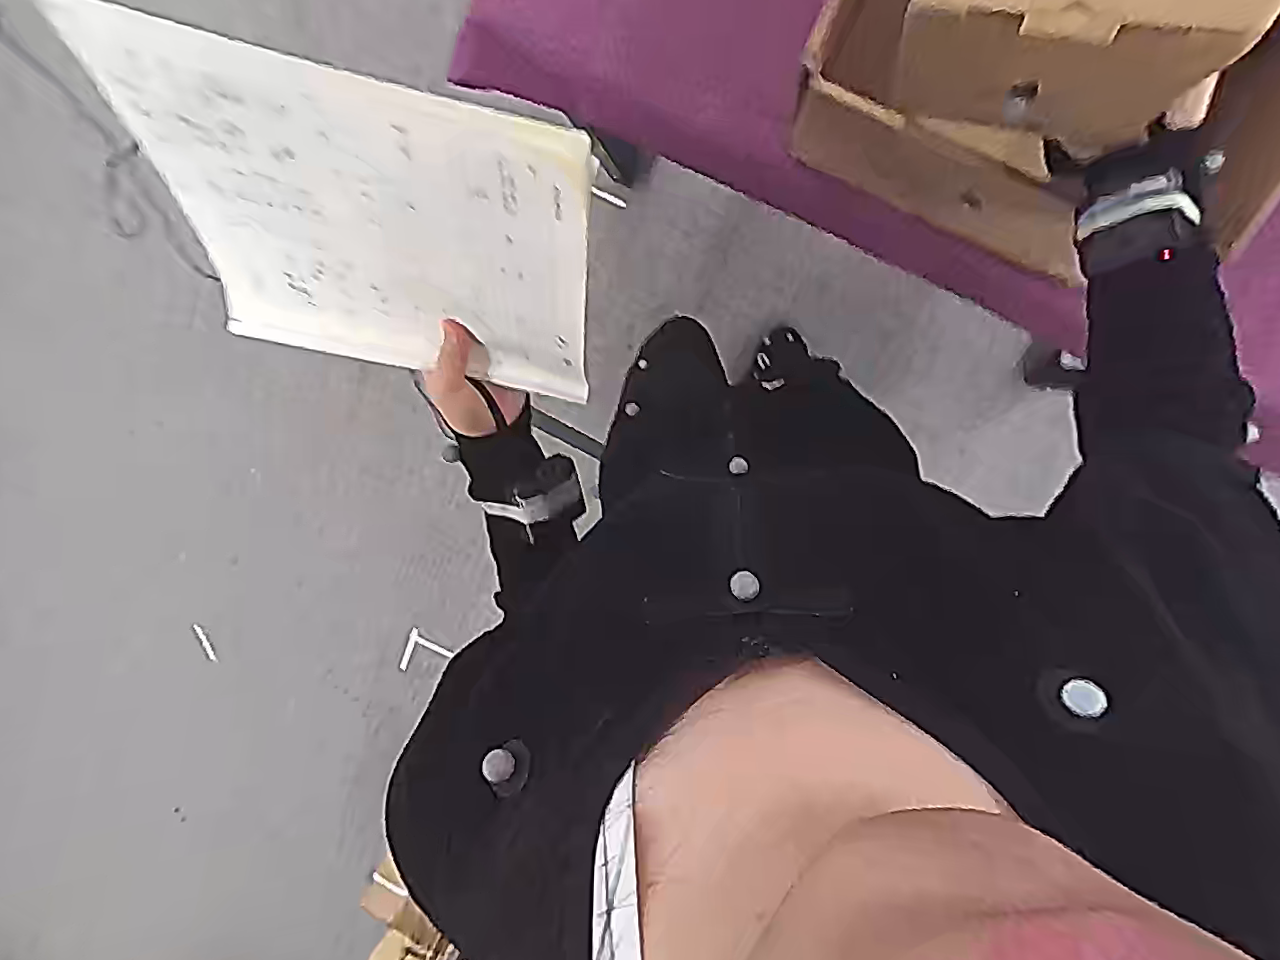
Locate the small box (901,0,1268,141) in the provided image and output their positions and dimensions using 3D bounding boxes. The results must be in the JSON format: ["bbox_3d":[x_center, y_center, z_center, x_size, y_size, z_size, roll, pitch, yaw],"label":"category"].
[{"bbox_3d":[0.277,-0.336,0.331,0.168,0.176,0.179,21,111,17],"label":"small box"}]

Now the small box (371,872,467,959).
[{"bbox_3d":[-0.626,1.286,1.556,0.168,0.176,0.179,33,107,0],"label":"small box"}]
